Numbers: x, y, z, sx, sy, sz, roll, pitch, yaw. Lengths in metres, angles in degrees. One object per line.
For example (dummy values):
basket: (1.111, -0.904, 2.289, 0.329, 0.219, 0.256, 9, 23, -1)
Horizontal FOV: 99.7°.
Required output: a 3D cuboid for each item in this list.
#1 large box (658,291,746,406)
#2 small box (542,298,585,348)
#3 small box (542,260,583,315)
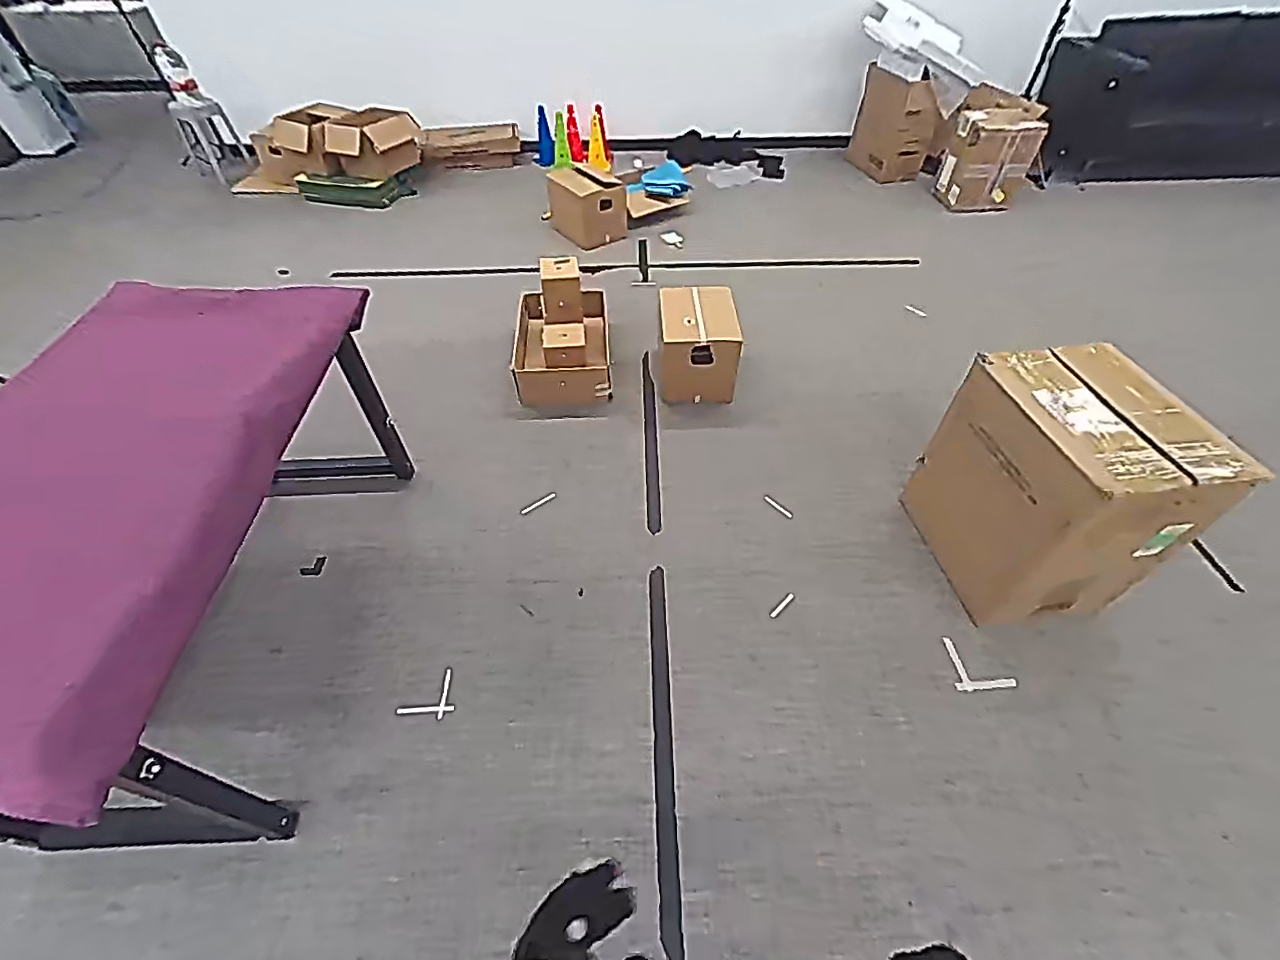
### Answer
large box: (0.249, -0.569, 2.330, 0.320, 0.320, 0.408, -2, 50, -1)
small box: (-0.350, -0.731, 2.500, 0.179, 0.176, 0.168, -9, 50, -9)
small box: (-0.342, -0.848, 2.382, 0.168, 0.176, 0.179, -6, 51, -5)
